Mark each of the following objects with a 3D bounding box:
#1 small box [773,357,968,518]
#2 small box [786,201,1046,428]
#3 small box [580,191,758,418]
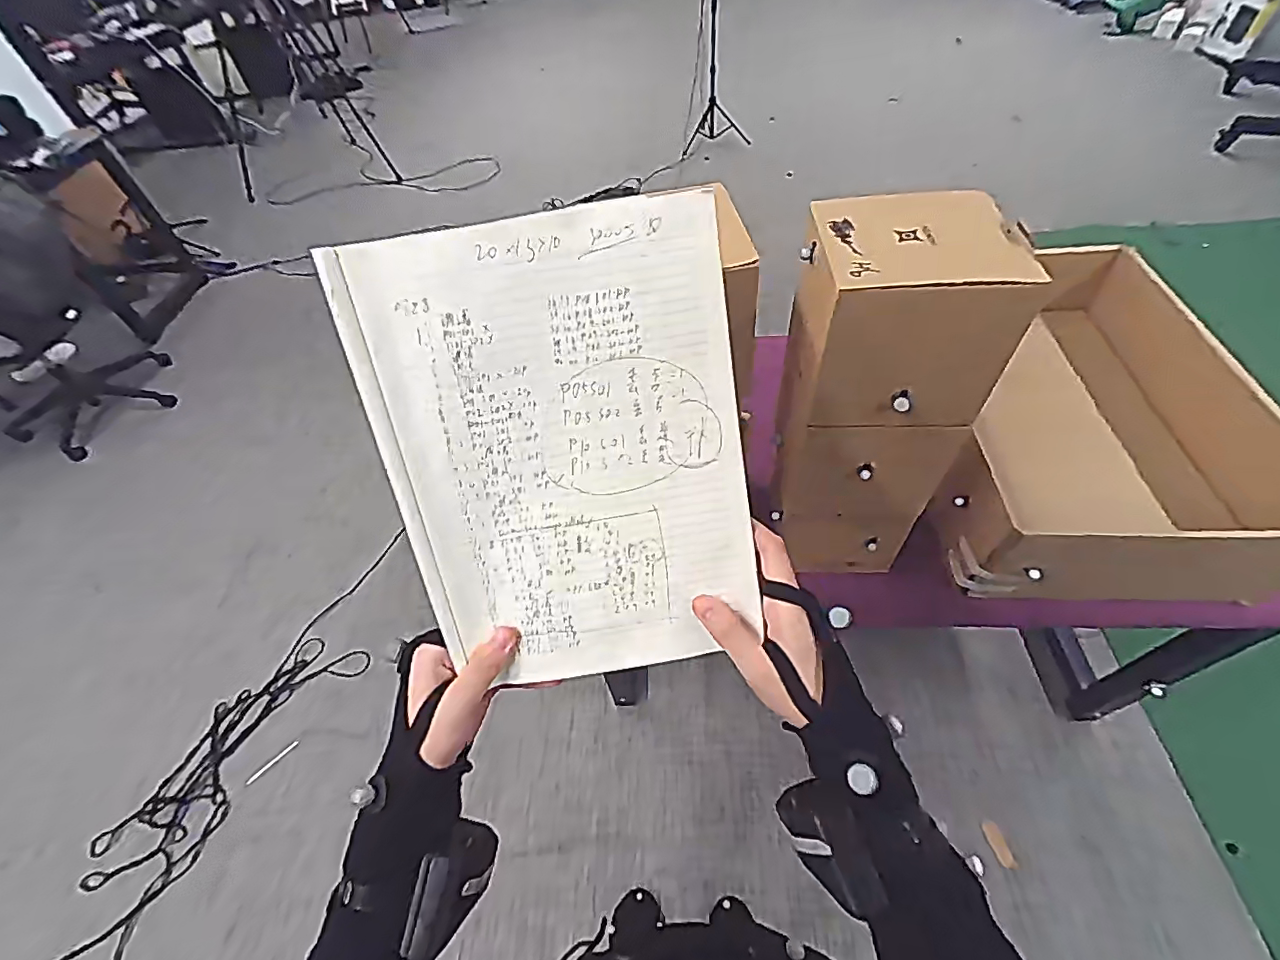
[{"bbox_3d":[0.274,-0.063,0.691,0.179,0.176,0.168,0,50,6],"label":"small box"},{"bbox_3d":[0.260,-0.167,0.564,0.179,0.176,0.168,0,50,5],"label":"small box"},{"bbox_3d":[0.028,-0.196,0.614,0.168,0.176,0.179,-9,51,1],"label":"small box"}]
